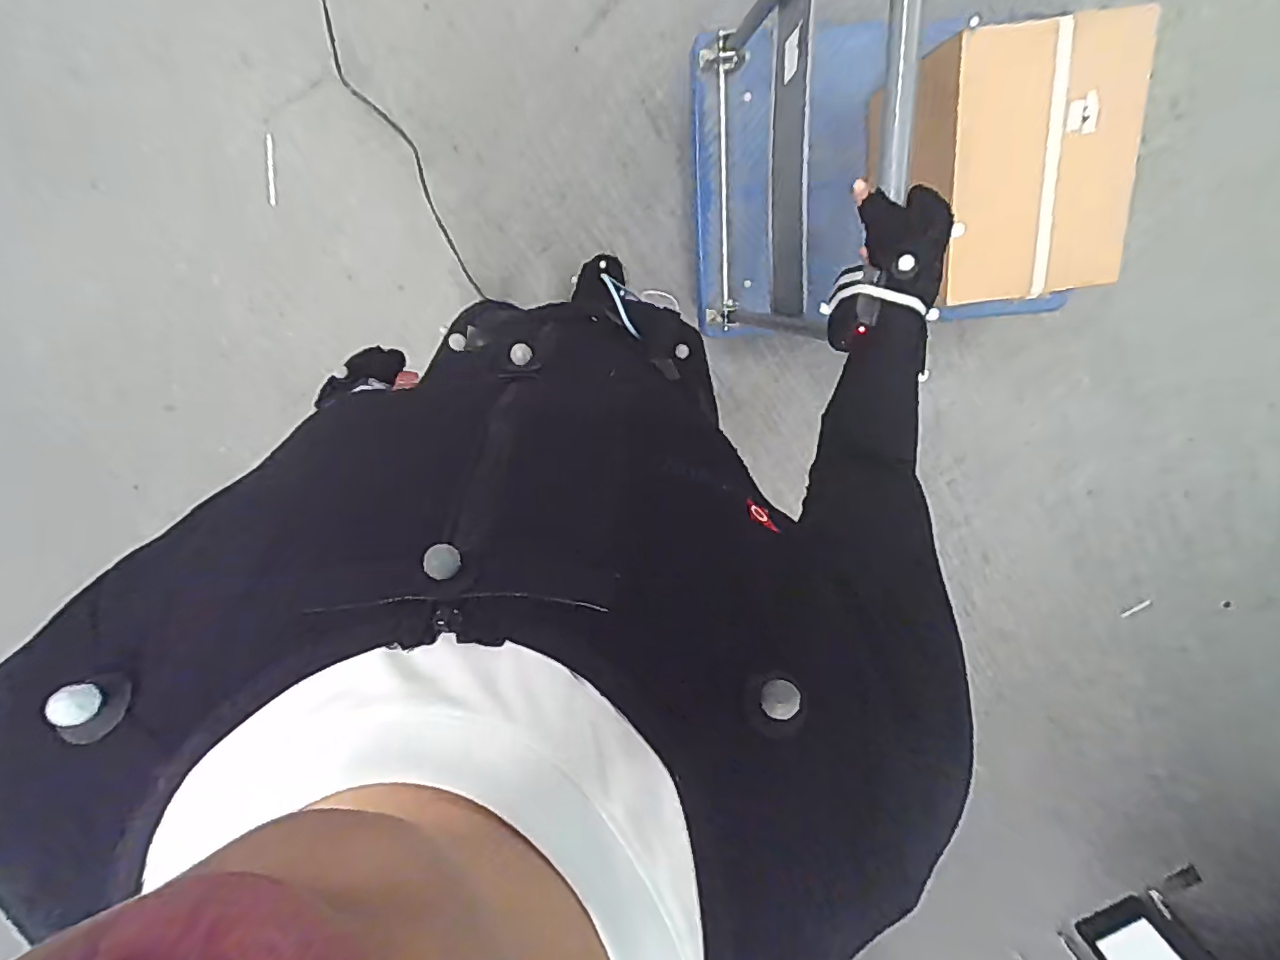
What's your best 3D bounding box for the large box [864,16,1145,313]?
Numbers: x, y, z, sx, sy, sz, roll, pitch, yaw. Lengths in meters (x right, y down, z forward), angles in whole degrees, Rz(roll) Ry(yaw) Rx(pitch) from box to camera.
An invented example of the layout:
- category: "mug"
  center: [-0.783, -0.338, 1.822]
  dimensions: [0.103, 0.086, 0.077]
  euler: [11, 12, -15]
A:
- category: "large box"
  center: [0.642, -0.549, 1.028]
  dimensions: [0.320, 0.320, 0.408]
  euler: [-9, 109, -3]
